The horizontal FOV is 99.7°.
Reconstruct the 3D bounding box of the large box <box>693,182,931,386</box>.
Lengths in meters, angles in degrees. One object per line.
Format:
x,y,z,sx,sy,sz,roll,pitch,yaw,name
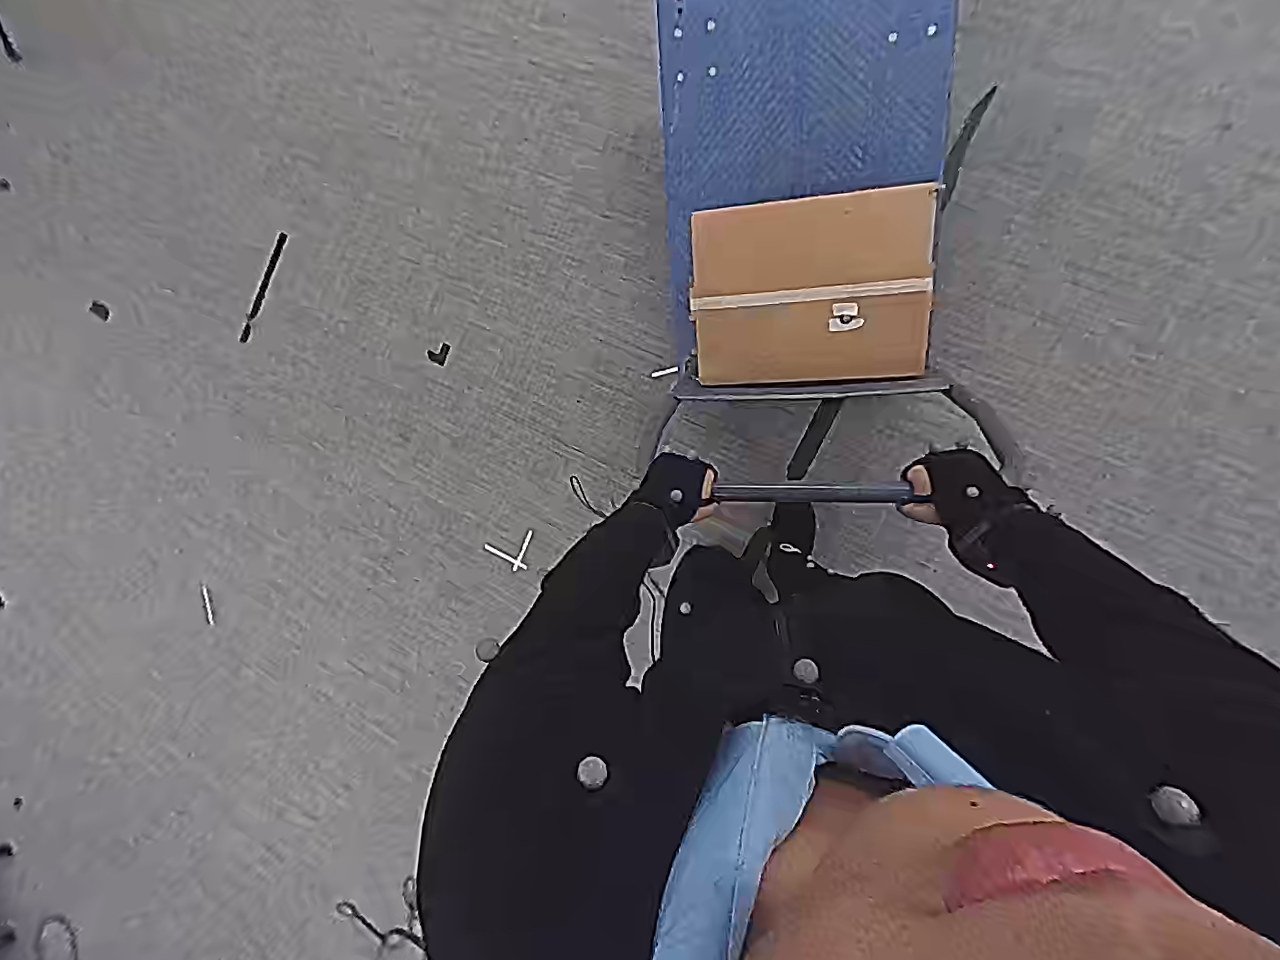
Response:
0.335,-0.383,1.119,0.408,0.320,0.320,-2,108,14,large box
